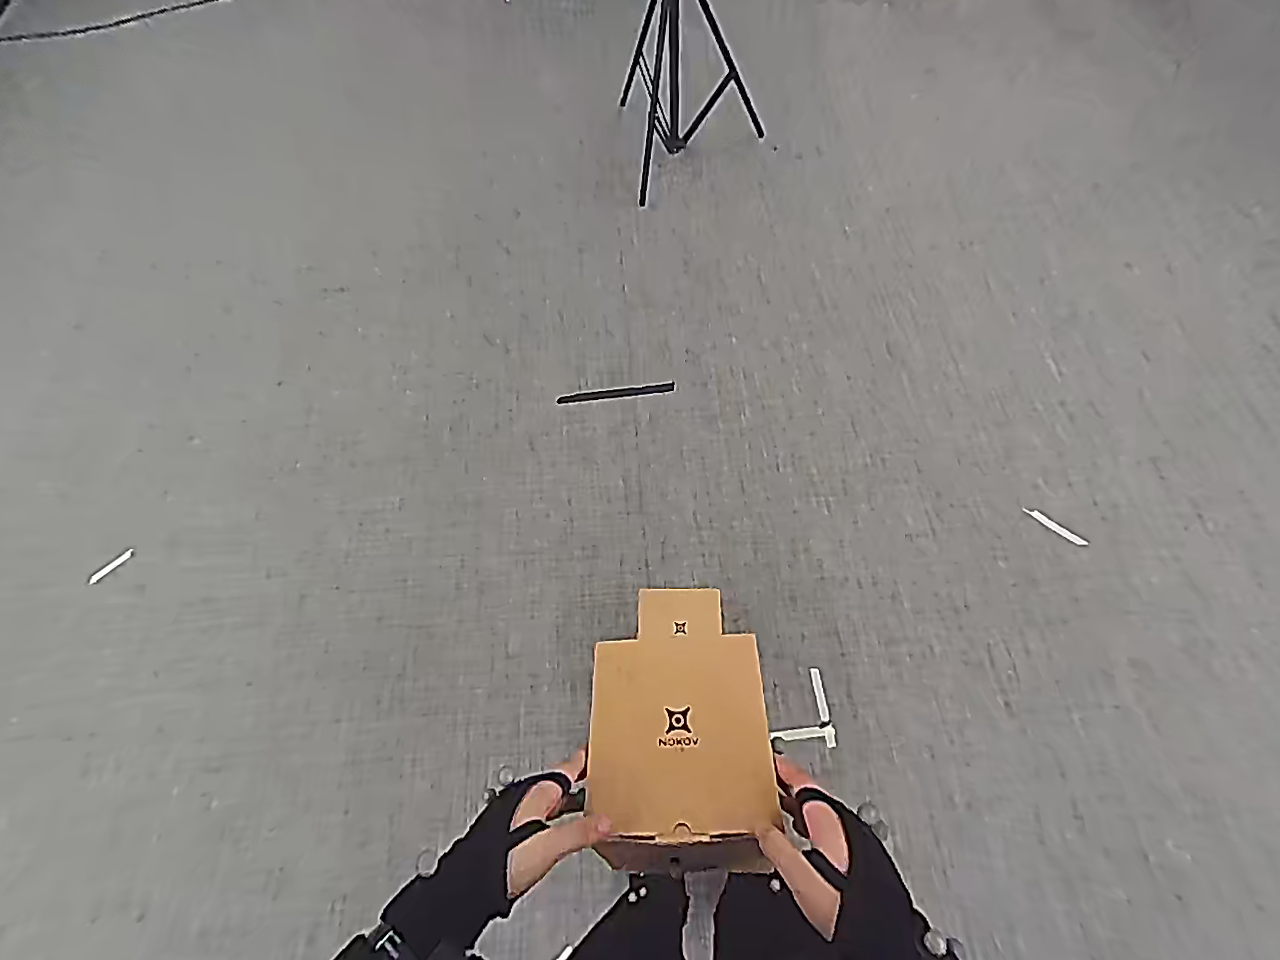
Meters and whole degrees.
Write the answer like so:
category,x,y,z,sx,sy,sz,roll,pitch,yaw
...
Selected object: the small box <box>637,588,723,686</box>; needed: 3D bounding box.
category,x,y,z,sx,sy,sz,roll,pitch,yaw
small box,0.082,0.330,1.125,0.168,0.176,0.179,-1,66,4
